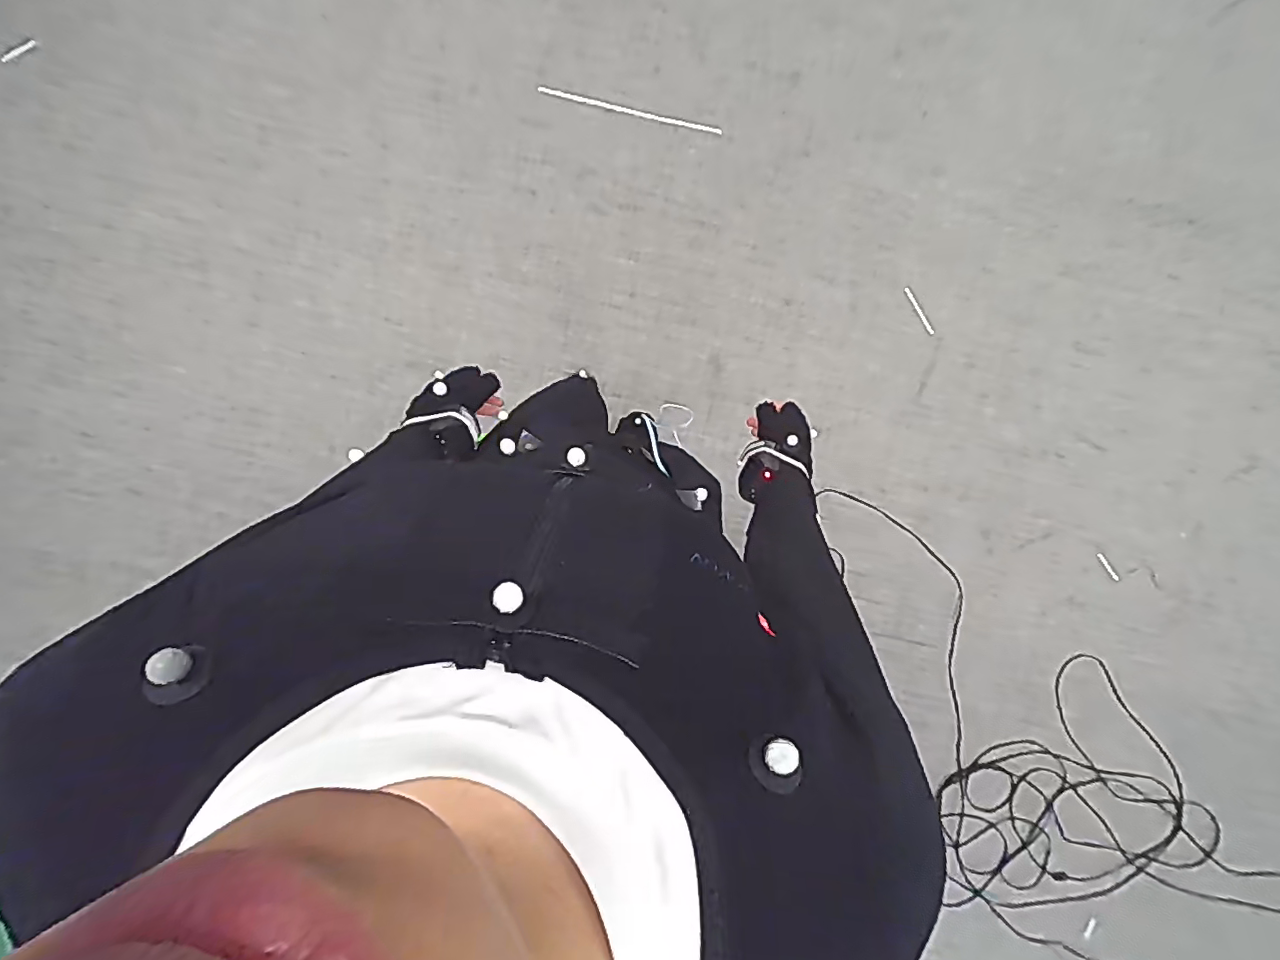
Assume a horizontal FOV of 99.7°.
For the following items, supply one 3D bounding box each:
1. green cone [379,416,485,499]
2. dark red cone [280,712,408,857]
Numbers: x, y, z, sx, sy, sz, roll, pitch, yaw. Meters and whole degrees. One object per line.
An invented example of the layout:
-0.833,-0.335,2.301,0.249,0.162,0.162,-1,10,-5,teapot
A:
-0.529,-0.041,1.295,0.202,0.368,0.200,12,96,-2,green cone
-0.761,0.772,1.357,0.202,0.394,0.201,8,97,-1,dark red cone
